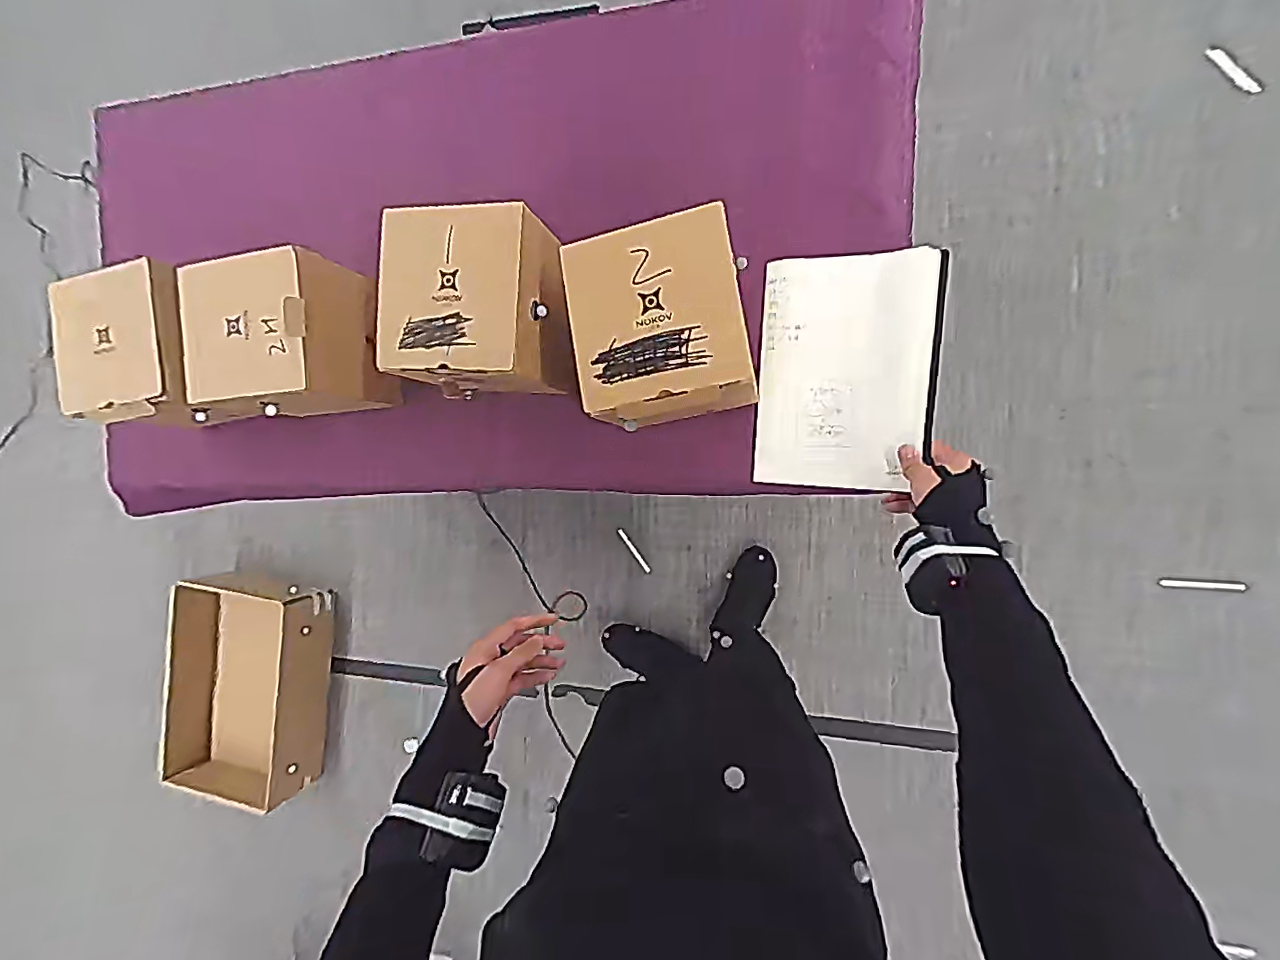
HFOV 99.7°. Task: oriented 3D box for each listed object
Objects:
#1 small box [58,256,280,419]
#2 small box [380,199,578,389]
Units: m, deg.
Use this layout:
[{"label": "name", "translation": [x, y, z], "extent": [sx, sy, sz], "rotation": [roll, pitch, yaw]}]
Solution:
[{"label": "small box", "translation": [-0.641, -0.183, 0.755], "extent": [0.168, 0.176, 0.179], "rotation": [-7, 90, 12]}, {"label": "small box", "translation": [-0.181, -0.206, 0.646], "extent": [0.168, 0.176, 0.179], "rotation": [4, 92, 13]}]
